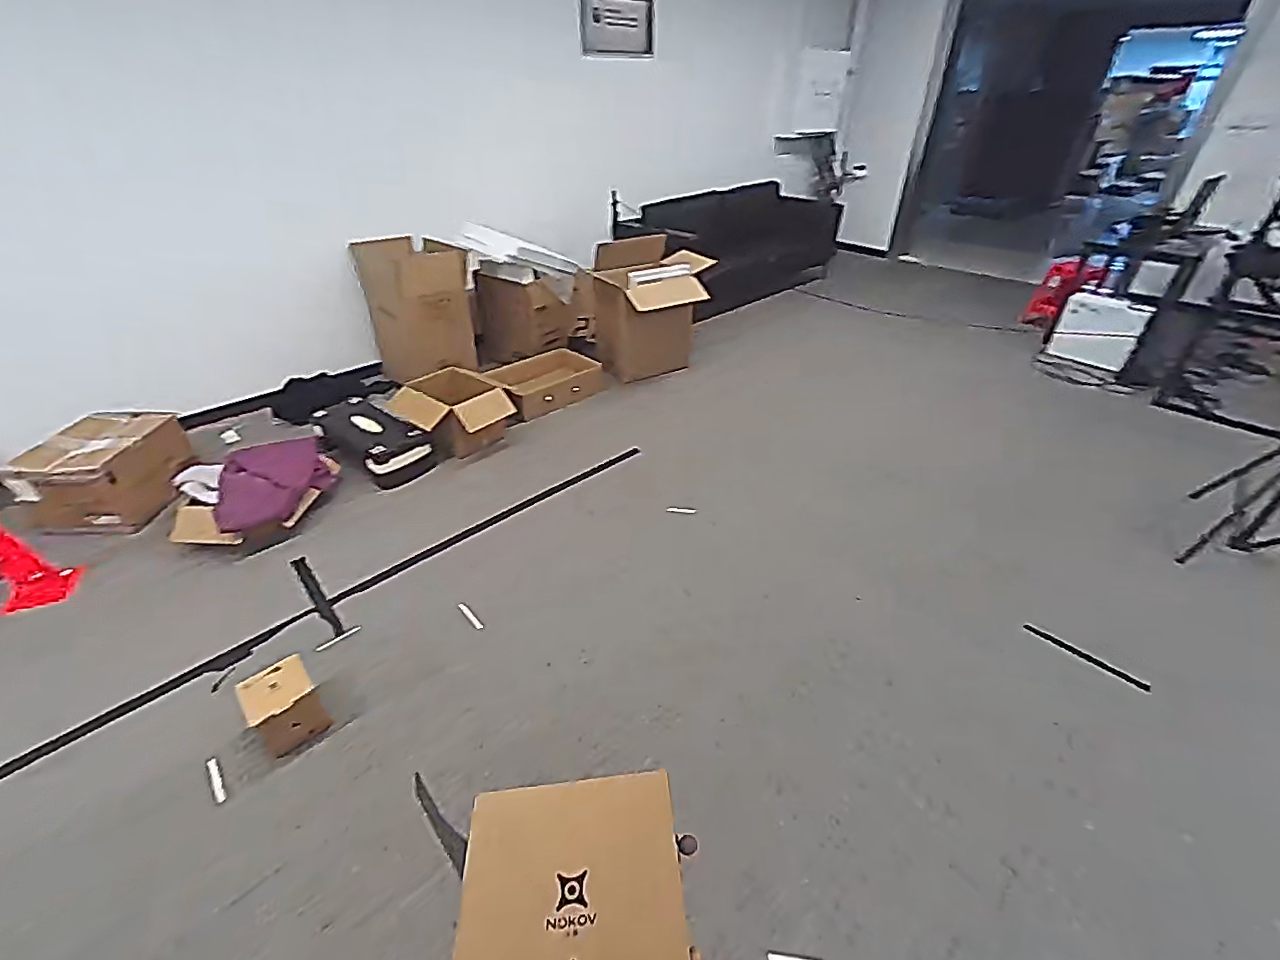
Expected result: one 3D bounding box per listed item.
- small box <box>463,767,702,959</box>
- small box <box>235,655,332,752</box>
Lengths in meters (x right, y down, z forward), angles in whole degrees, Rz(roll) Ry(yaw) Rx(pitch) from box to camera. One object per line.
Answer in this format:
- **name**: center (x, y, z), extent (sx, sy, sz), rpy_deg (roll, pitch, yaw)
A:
- **small box**: center (-0.038, 0.370, 0.444), extent (0.168, 0.176, 0.179), rpy_deg (-6, 37, -1)
- **small box**: center (-1.038, 0.661, 1.584), extent (0.168, 0.176, 0.179), rpy_deg (-30, 46, -34)
